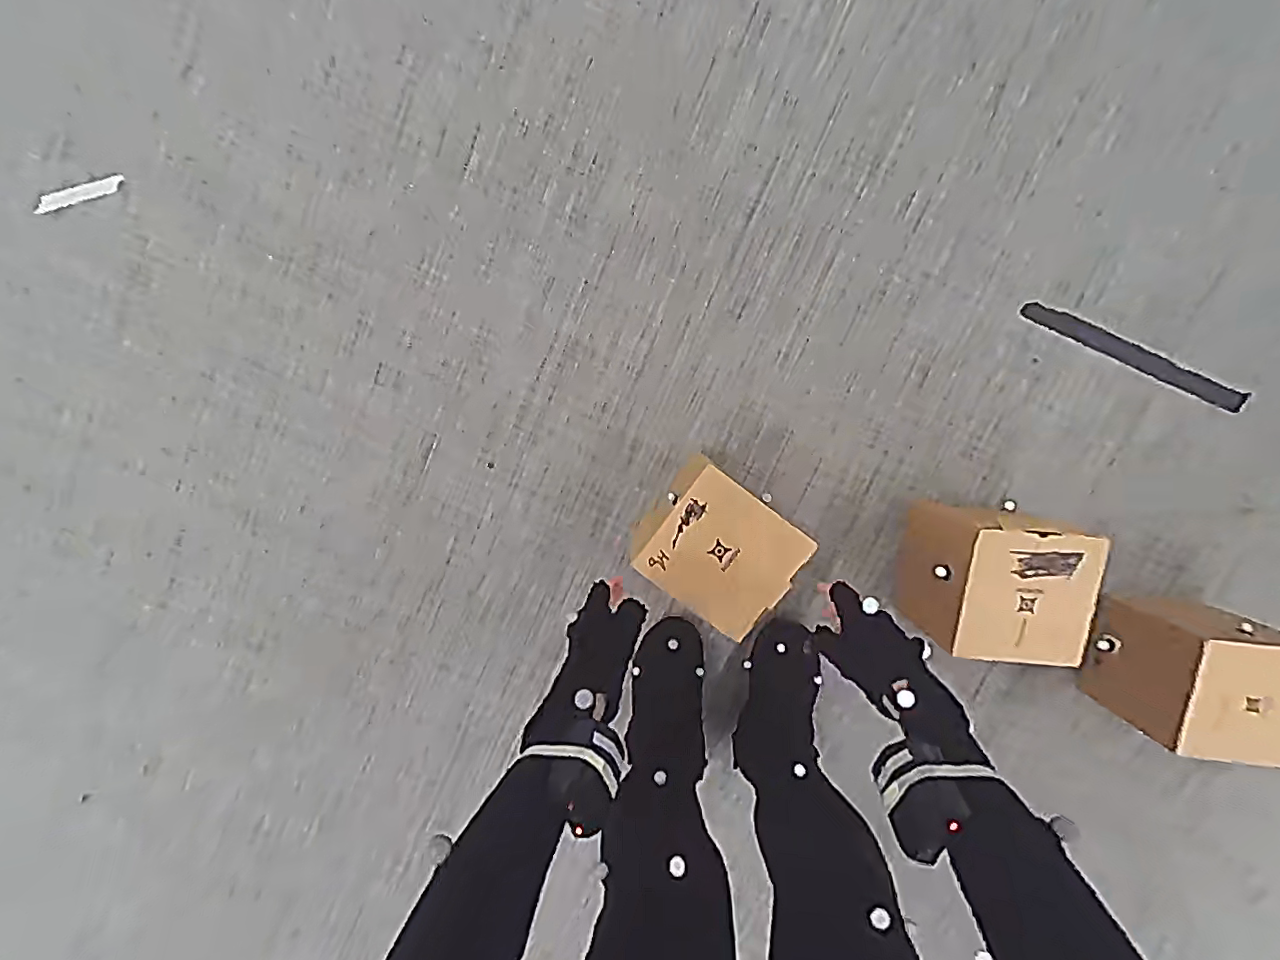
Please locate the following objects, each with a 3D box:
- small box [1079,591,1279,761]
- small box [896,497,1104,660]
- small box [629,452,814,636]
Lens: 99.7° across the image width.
[{"bbox_3d":[0.789,0.267,0.770,0.179,0.176,0.168,6,98,1],"label":"small box"},{"bbox_3d":[0.481,0.125,0.751,0.168,0.176,0.179,5,99,0],"label":"small box"},{"bbox_3d":[0.103,0.075,0.752,0.179,0.176,0.168,36,97,-4],"label":"small box"}]
